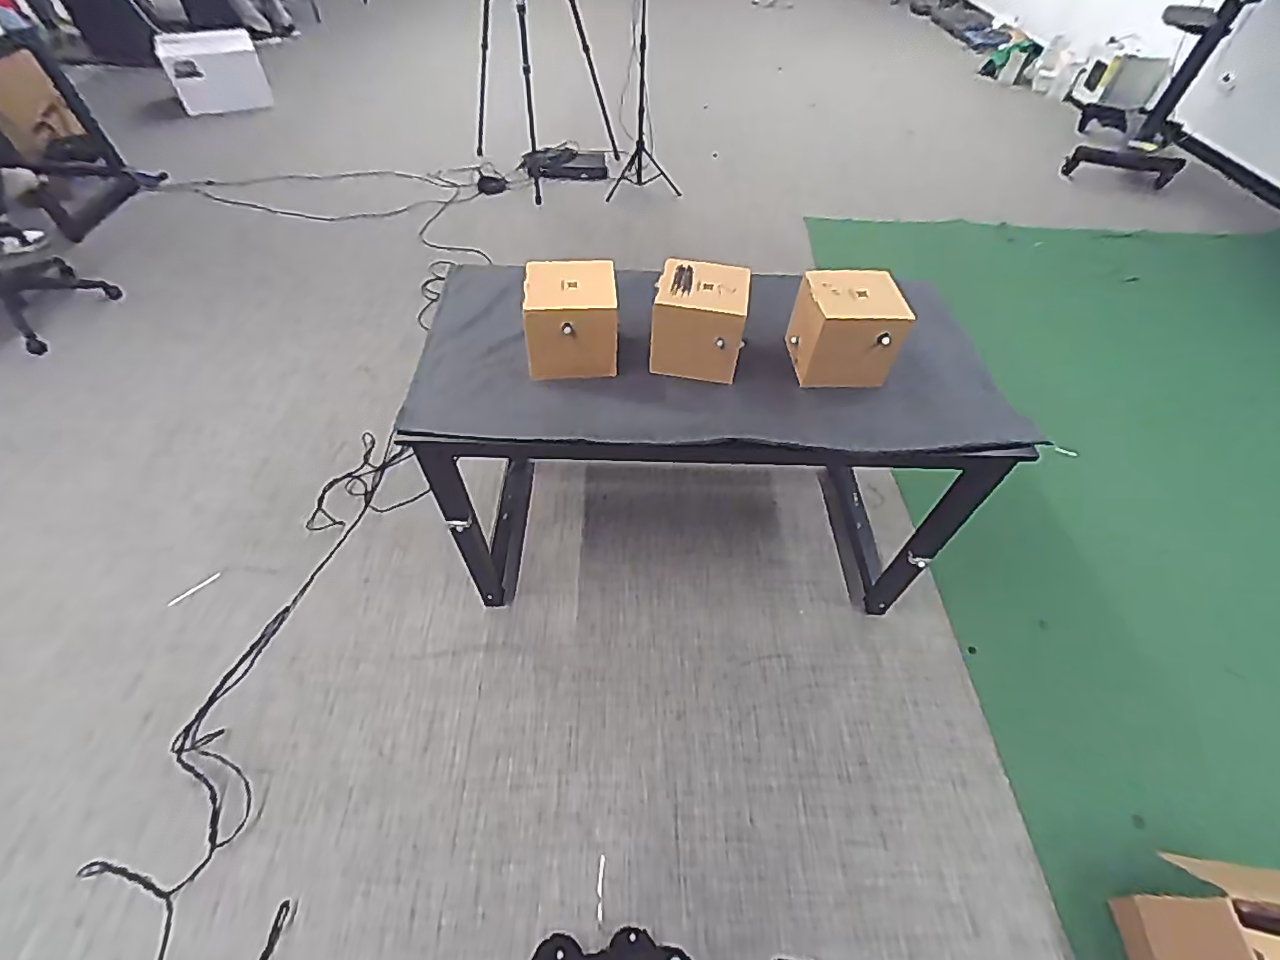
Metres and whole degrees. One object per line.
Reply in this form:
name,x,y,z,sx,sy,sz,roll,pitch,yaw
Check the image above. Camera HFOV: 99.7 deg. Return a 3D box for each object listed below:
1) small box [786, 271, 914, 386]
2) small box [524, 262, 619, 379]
small box,0.417,-0.306,1.106,0.179,0.176,0.168,-1,51,-3
small box,-0.135,-0.322,1.101,0.179,0.176,0.168,-4,52,-4
